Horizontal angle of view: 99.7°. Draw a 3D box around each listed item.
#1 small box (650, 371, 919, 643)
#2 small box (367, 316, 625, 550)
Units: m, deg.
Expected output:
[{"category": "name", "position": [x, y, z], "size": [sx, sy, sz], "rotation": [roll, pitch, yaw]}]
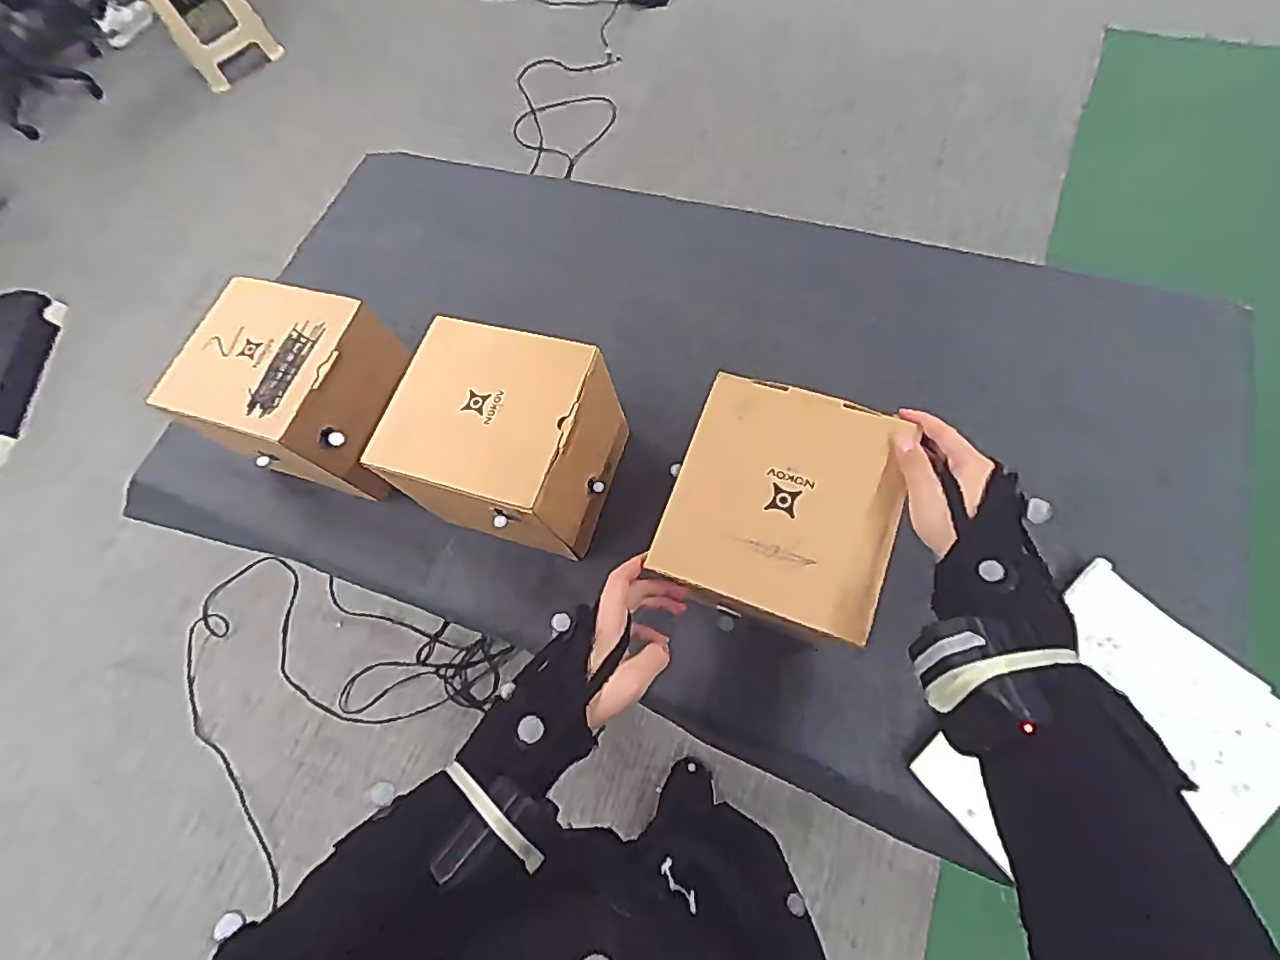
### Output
[{"category": "small box", "position": [0.122, 0.034, 0.488], "size": [0.168, 0.176, 0.179], "rotation": [17, 76, 15]}, {"category": "small box", "position": [-0.130, -0.040, 0.562], "size": [0.179, 0.176, 0.168], "rotation": [14, 70, 13]}]
